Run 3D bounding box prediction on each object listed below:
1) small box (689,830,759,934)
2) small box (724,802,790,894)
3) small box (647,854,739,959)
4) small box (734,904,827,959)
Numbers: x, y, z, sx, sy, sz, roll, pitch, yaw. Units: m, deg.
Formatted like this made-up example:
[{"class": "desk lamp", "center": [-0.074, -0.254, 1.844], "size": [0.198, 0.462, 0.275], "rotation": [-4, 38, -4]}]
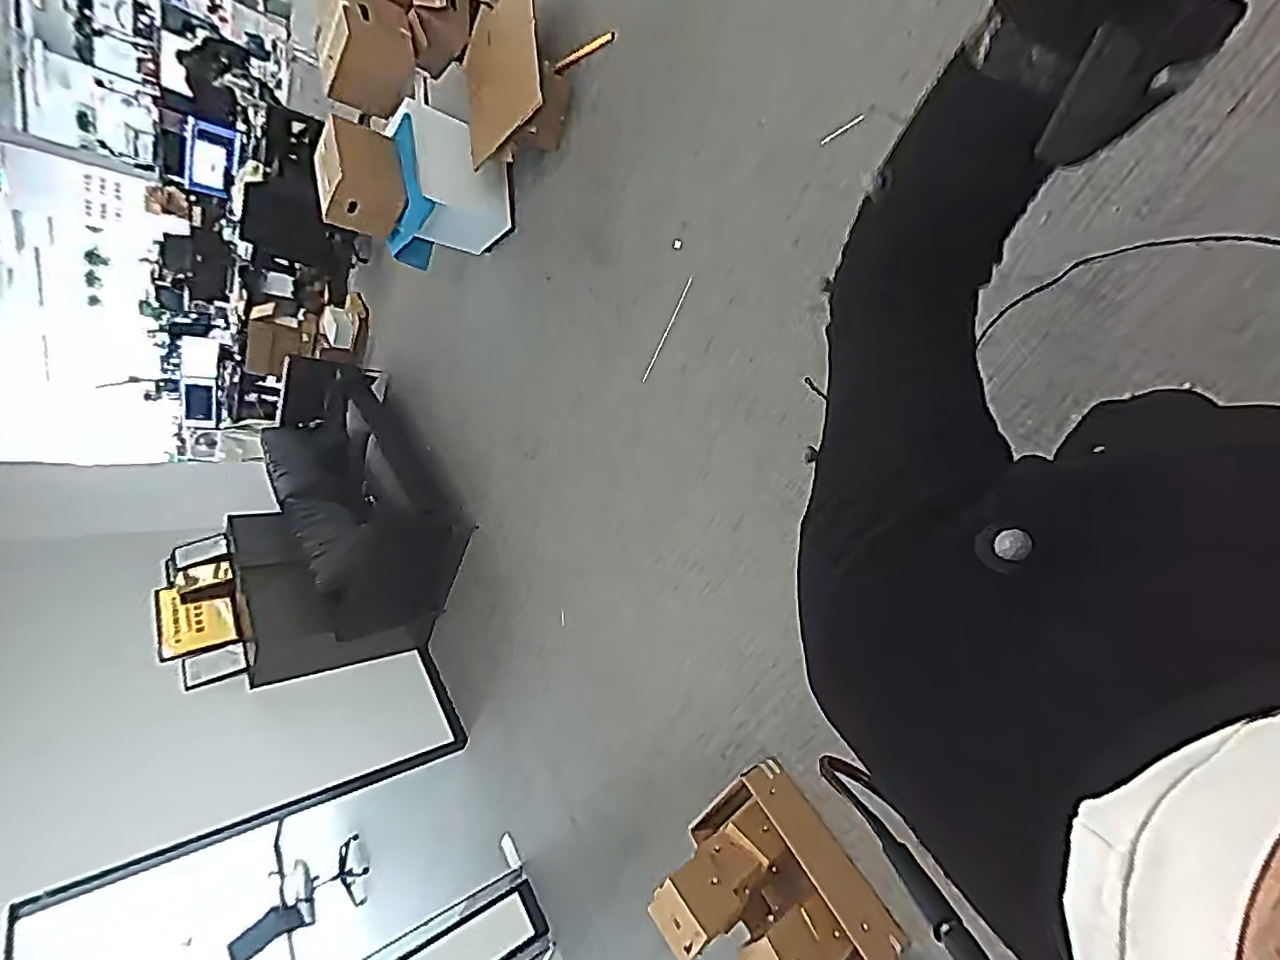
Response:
[{"class": "small box", "center": [0.262, 1.282, 1.740], "size": [0.168, 0.176, 0.179], "rotation": [18, 103, 44]}, {"class": "small box", "center": [0.386, 1.250, 1.846], "size": [0.168, 0.176, 0.179], "rotation": [31, 112, 40]}, {"class": "small box", "center": [0.158, 1.264, 1.613], "size": [0.179, 0.176, 0.168], "rotation": [41, 119, 38]}, {"class": "small box", "center": [0.418, 1.400, 1.581], "size": [0.179, 0.176, 0.168], "rotation": [54, 127, 32]}]
